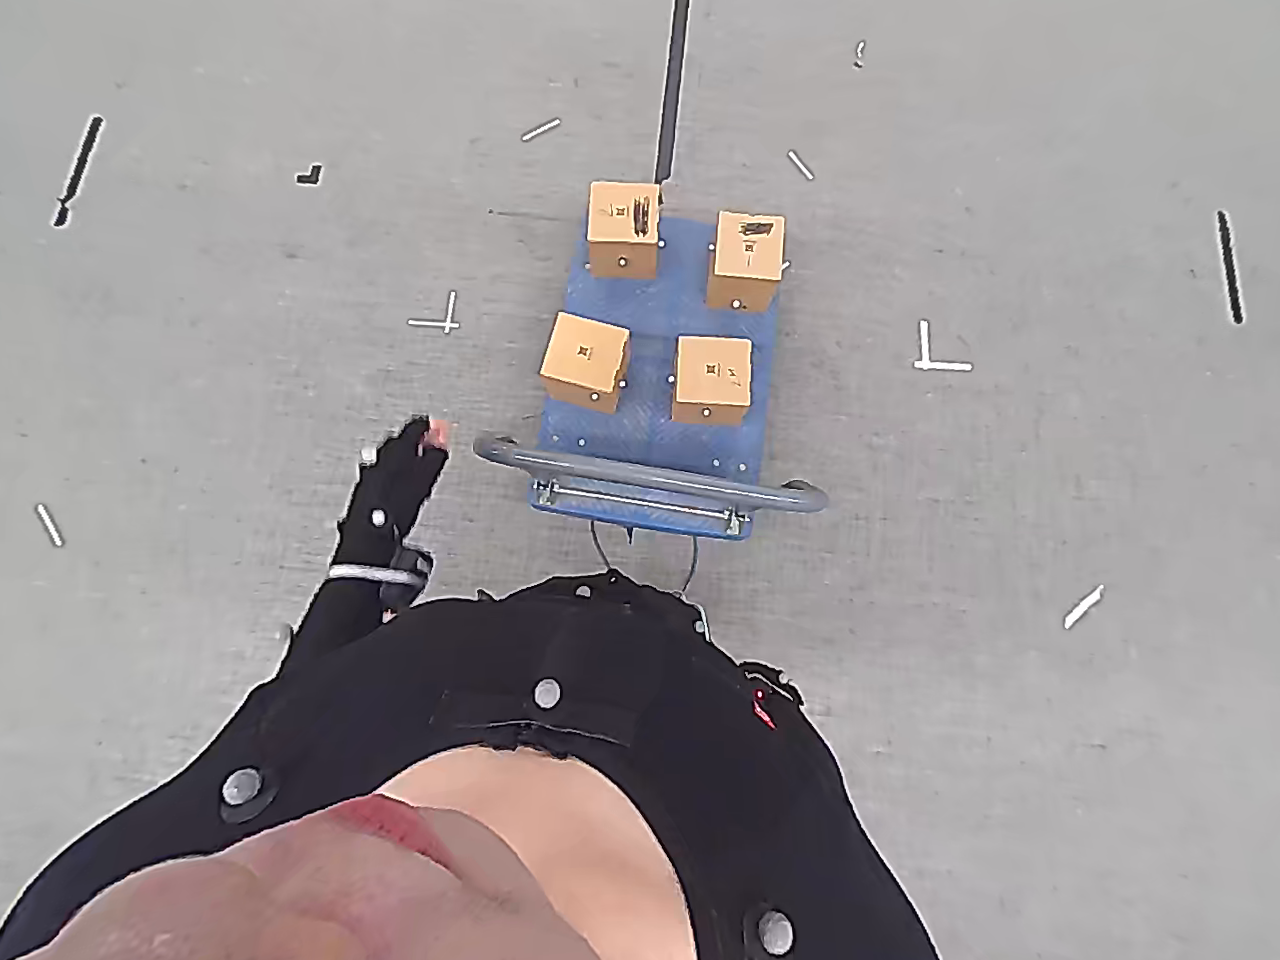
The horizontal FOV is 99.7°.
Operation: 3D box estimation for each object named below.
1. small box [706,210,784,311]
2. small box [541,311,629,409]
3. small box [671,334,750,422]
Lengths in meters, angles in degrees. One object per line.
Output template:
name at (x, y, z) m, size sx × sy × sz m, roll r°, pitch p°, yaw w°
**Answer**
small box at (0.267, -0.568, 1.412) m, size 0.168 × 0.176 × 0.179 m, roll 6°, pitch 81°, yaw 1°
small box at (-0.132, -0.293, 1.357) m, size 0.179 × 0.176 × 0.168 m, roll 15°, pitch 79°, yaw 0°
small box at (0.171, -0.249, 1.353) m, size 0.179 × 0.176 × 0.168 m, roll 4°, pitch 80°, yaw 0°
